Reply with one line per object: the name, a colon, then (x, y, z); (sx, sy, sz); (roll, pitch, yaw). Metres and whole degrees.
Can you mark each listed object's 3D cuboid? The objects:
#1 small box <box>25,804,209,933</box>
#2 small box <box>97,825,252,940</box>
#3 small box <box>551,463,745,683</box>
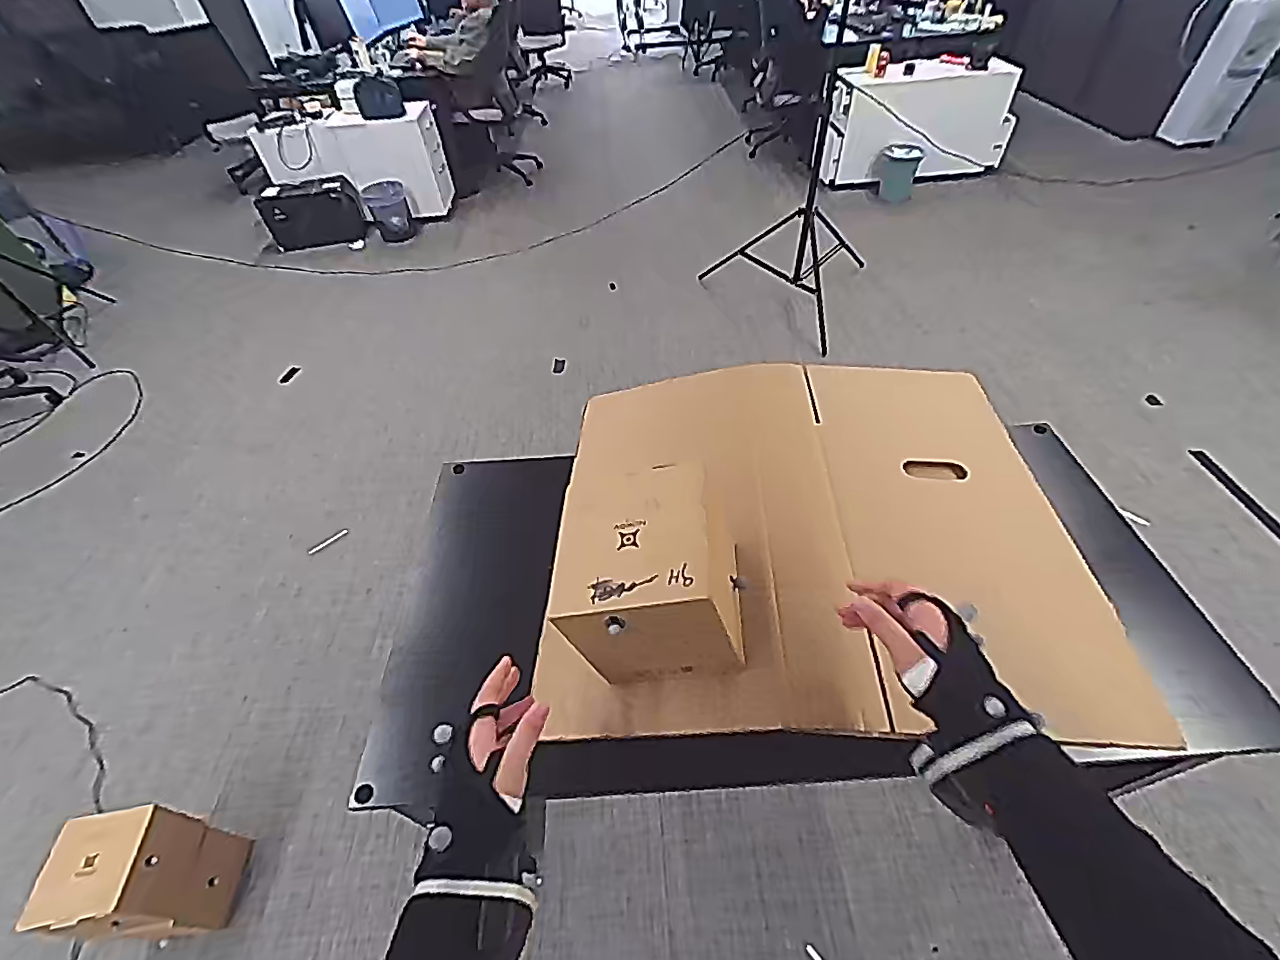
small box: (-1.009, 0.770, 1.068); (0.168, 0.176, 0.179); (-8, 46, -5)
small box: (-0.998, 0.883, 1.184); (0.168, 0.176, 0.179); (-7, 48, -2)
small box: (0.019, 0.110, 0.617); (0.168, 0.176, 0.179); (-11, 45, 16)
